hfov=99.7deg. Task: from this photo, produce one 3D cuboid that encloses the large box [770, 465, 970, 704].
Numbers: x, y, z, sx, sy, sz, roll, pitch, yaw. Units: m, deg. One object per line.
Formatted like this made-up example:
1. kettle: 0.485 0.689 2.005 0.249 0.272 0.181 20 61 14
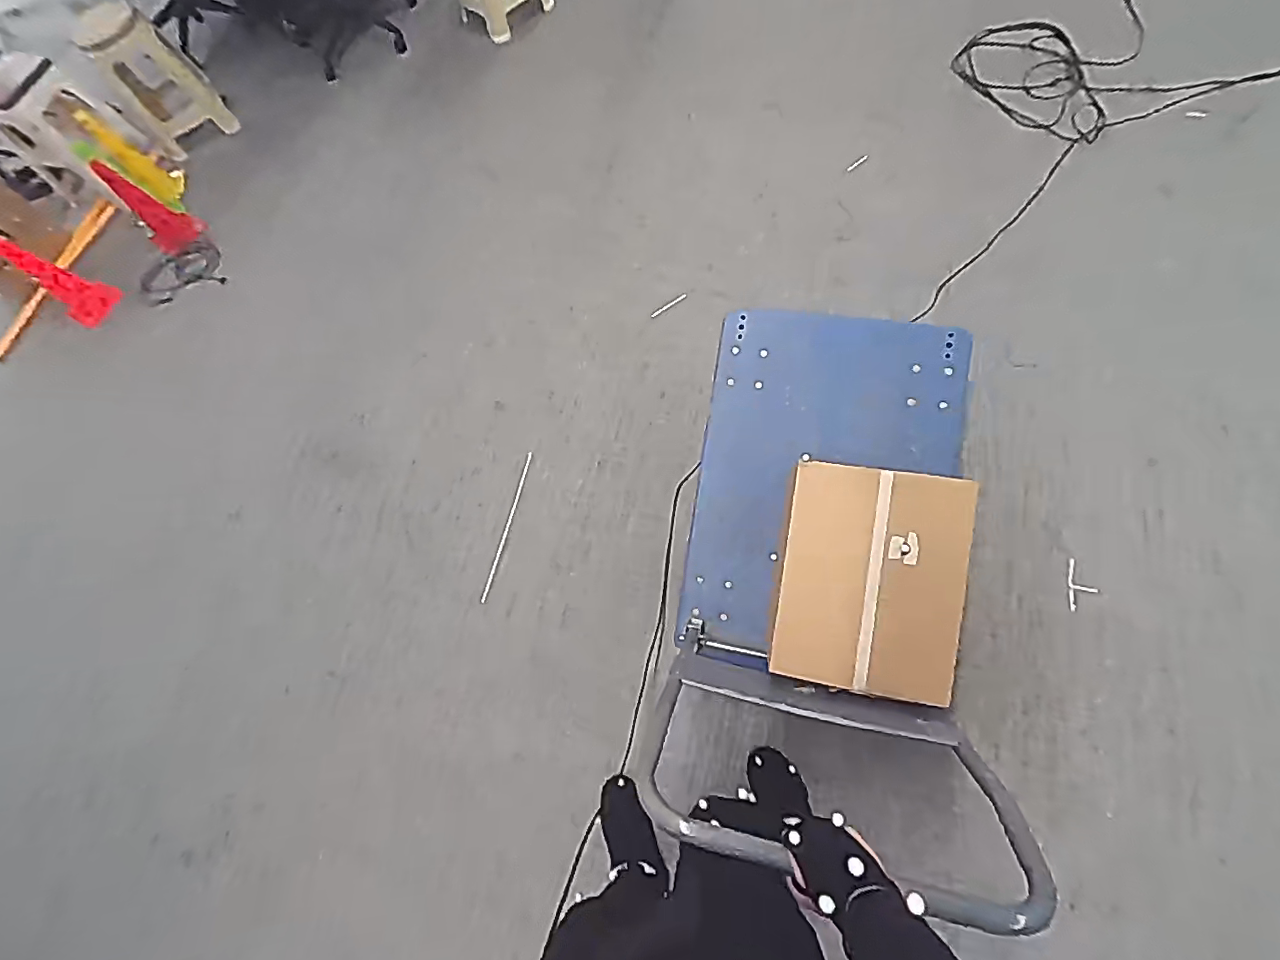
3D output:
1. large box: 0.452 0.197 1.138 0.320 0.320 0.408 8 88 11
